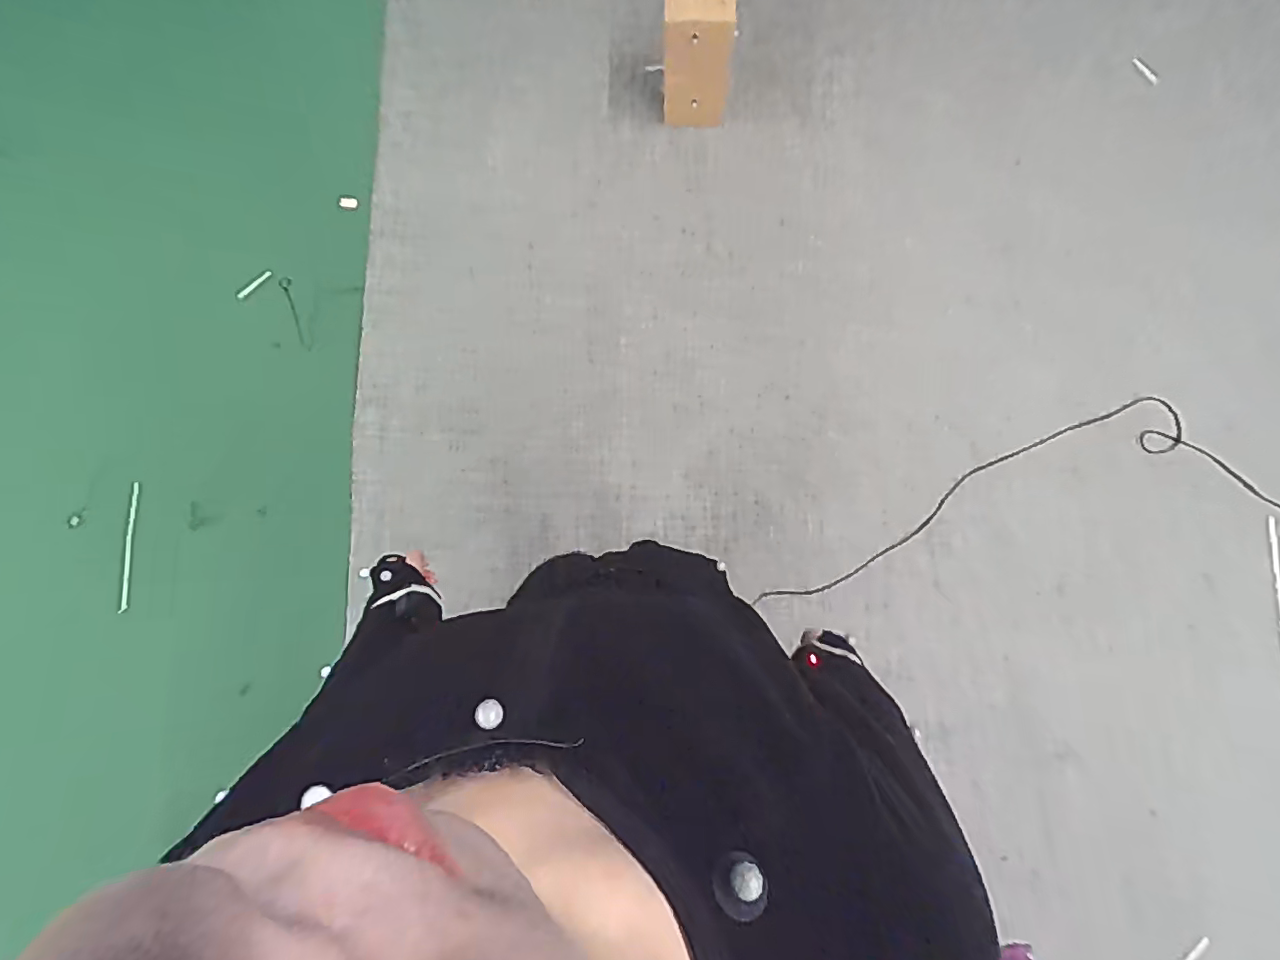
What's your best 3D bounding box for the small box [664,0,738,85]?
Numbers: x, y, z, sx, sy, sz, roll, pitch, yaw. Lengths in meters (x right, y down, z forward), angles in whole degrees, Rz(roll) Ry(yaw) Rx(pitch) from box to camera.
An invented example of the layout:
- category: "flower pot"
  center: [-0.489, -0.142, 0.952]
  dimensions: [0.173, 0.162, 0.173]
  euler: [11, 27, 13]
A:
- category: "small box"
  center: [0.156, -1.159, 1.392]
  dimensions: [0.179, 0.176, 0.168]
  euler: [4, 85, 3]
